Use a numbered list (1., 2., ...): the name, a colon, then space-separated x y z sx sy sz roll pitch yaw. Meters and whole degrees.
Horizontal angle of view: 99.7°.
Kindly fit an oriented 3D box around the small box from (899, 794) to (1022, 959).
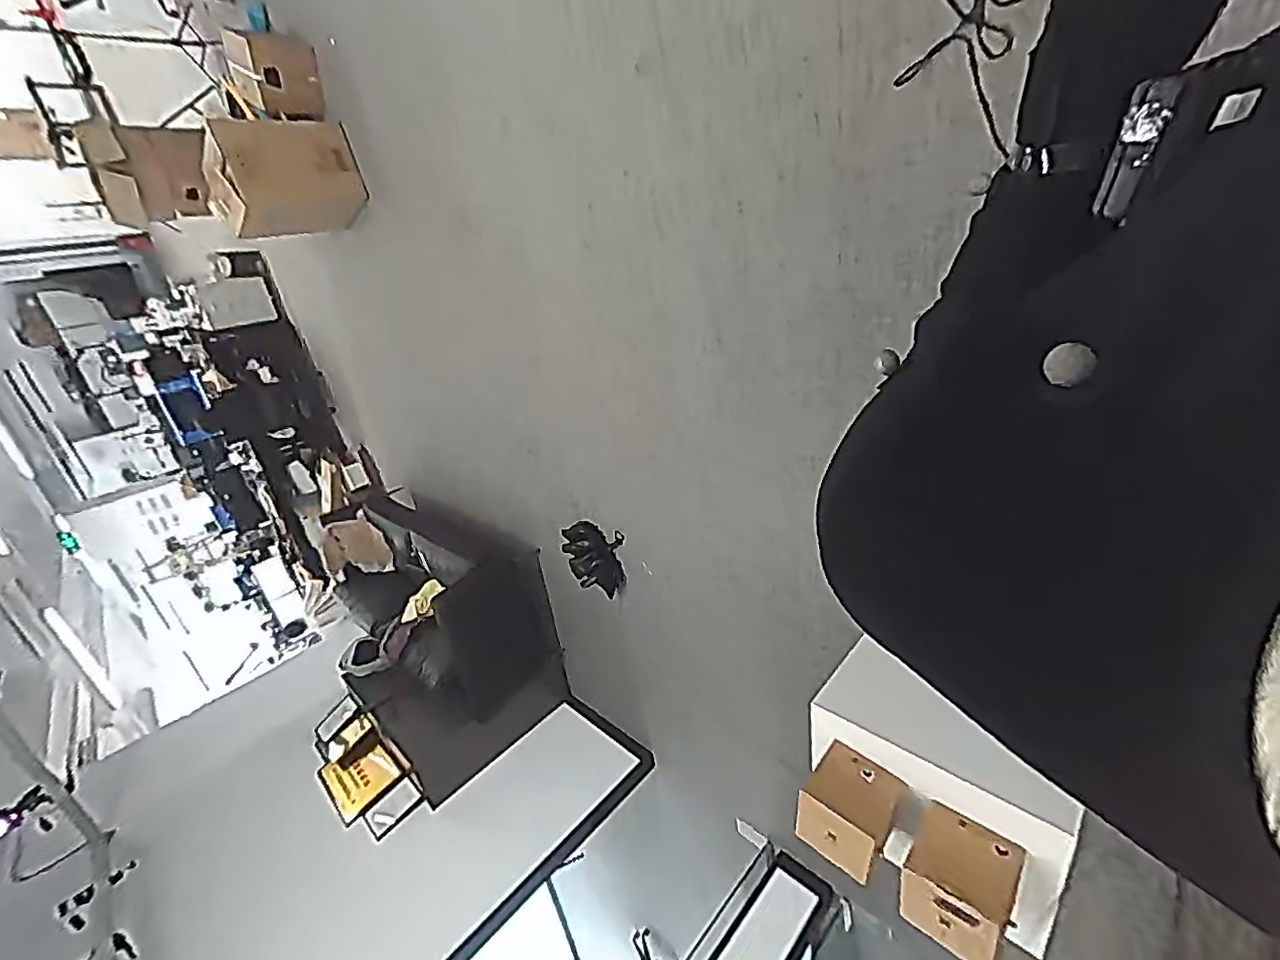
1. small box: 0.630 0.770 1.064 0.168 0.176 0.179 15 125 44

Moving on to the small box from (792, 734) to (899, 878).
1. small box: 0.457 0.716 1.204 0.168 0.176 0.179 19 125 39
